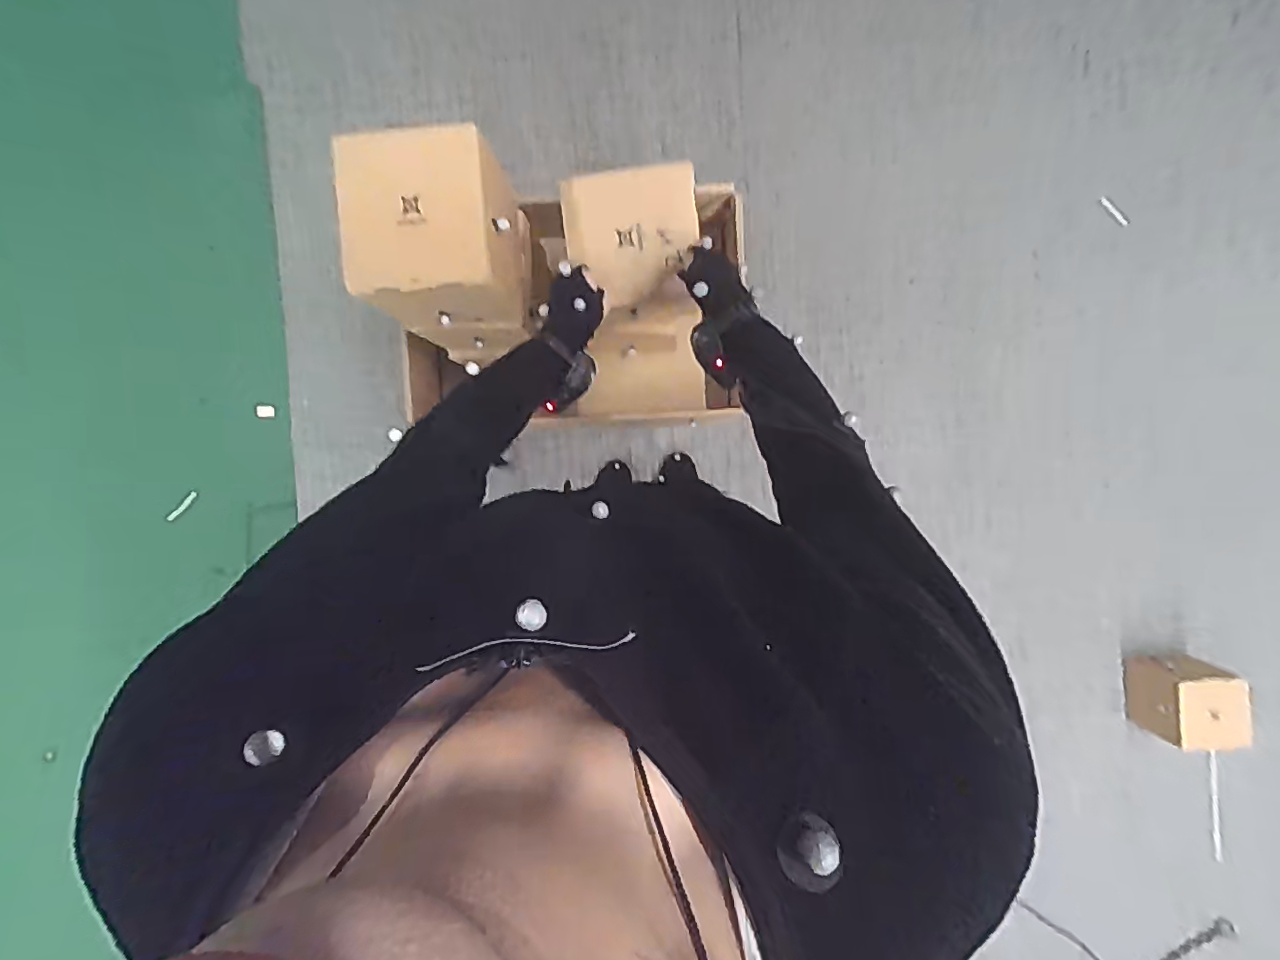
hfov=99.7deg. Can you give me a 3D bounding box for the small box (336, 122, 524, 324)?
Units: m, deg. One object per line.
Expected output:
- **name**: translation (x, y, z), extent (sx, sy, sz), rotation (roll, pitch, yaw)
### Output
- **small box**: translation (-0.250, -0.308, 0.680), extent (0.168, 0.176, 0.179), rotation (-4, 93, 2)

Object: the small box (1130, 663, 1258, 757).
- **small box**: translation (1.408, 0.580, 1.386), extent (0.168, 0.176, 0.179), rotation (-4, 92, 3)

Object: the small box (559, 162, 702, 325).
- **small box**: translation (-0.007, -0.323, 0.772), extent (0.179, 0.176, 0.168), rotation (-5, 98, 4)
